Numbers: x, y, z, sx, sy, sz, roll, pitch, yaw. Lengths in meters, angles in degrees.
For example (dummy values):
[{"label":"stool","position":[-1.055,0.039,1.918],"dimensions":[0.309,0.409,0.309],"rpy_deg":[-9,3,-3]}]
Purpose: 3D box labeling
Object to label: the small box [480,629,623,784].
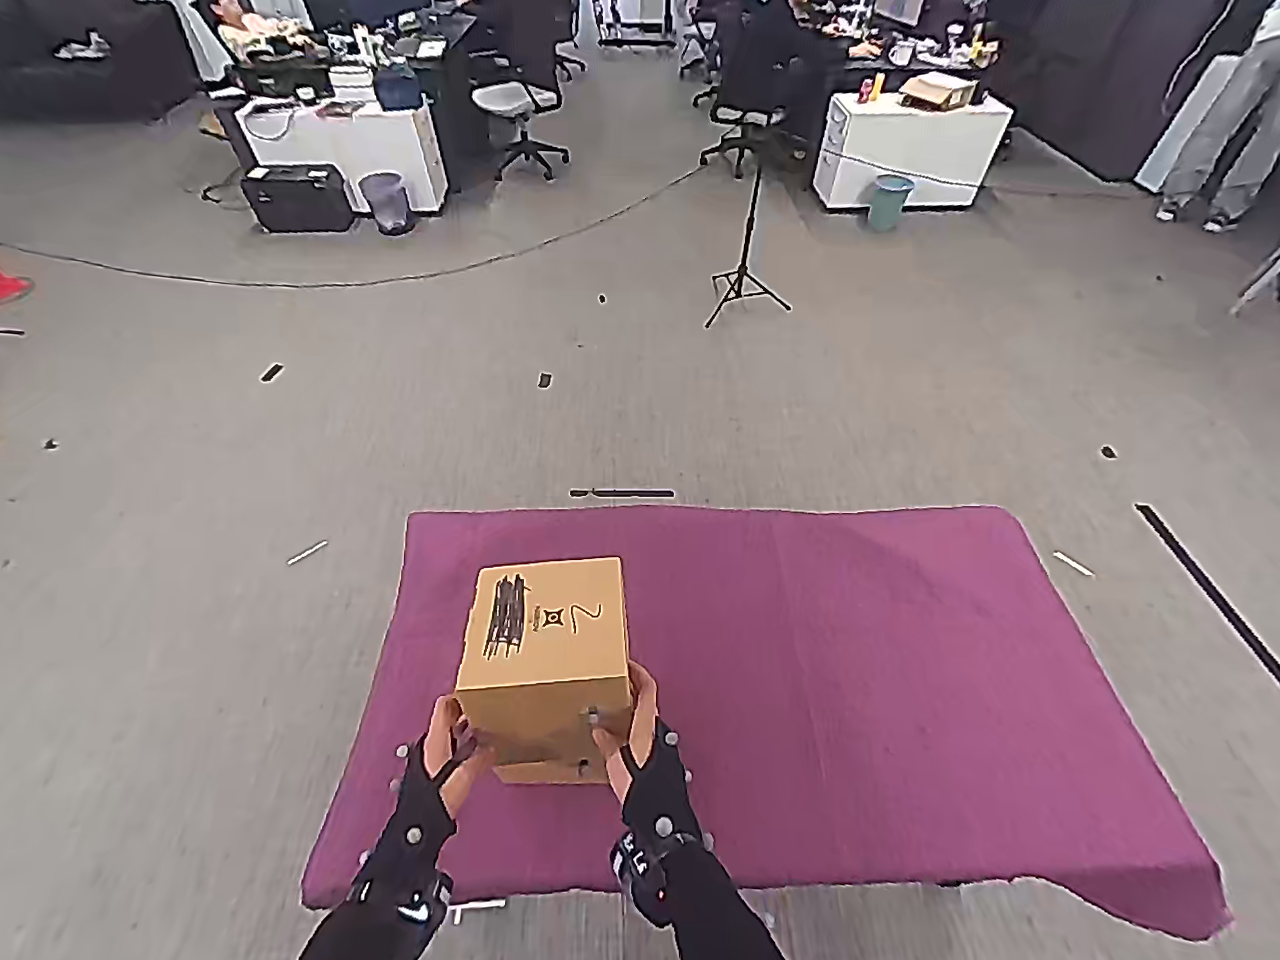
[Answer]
[{"label":"small box","position":[-0.115,0.331,0.786],"dimensions":[0.179,0.176,0.168],"rpy_deg":[1,49,0]}]
